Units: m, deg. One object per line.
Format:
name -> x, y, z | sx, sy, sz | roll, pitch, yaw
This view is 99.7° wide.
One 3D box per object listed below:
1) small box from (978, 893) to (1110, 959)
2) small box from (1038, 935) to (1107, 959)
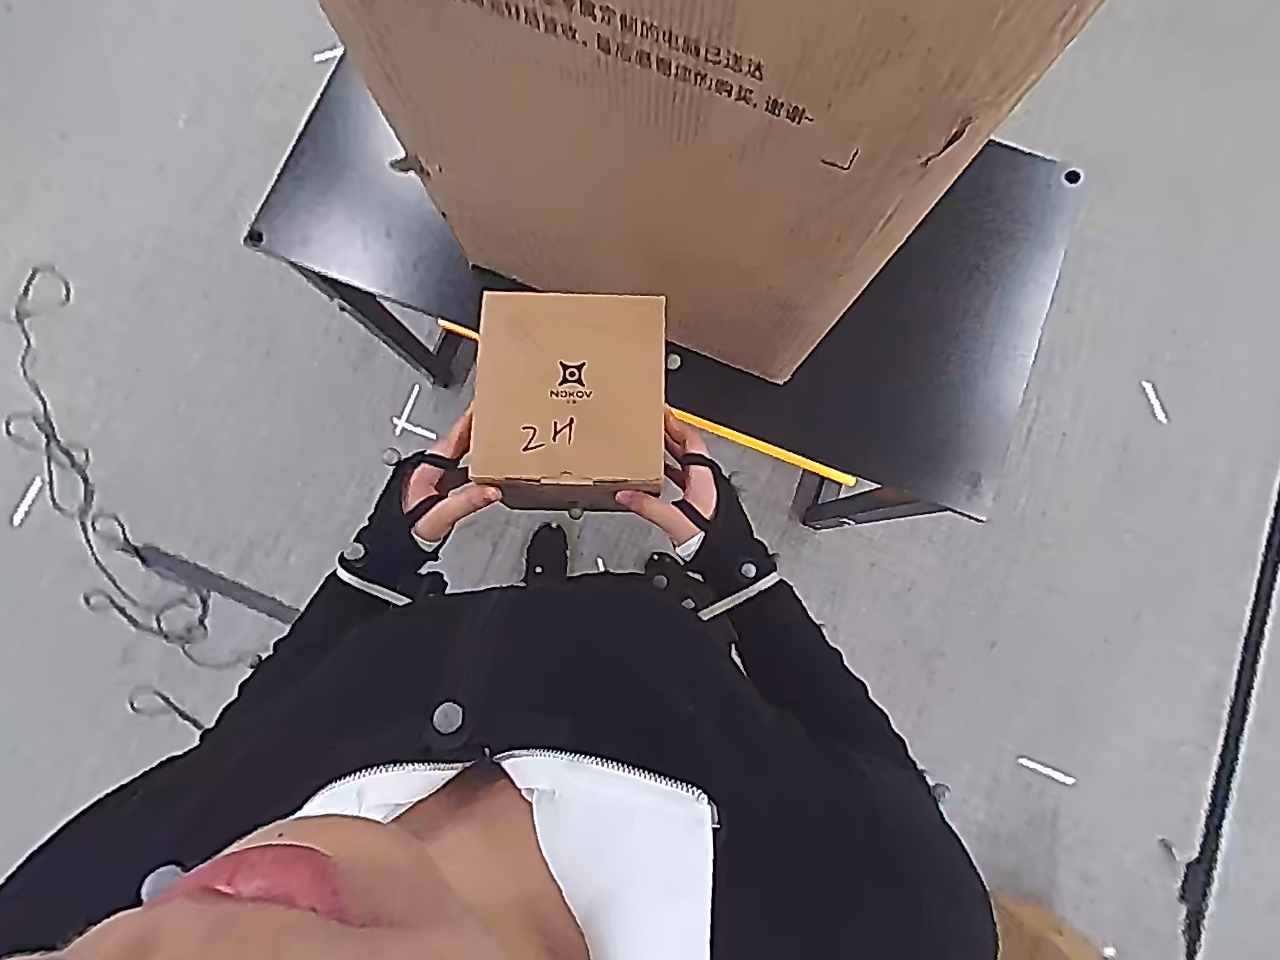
small box -> 0.957, 1.139, 1.293 | 0.179, 0.176, 0.168 | 16, 82, 3
small box -> 0.959, 1.117, 1.130 | 0.168, 0.176, 0.179 | 21, 83, 3
